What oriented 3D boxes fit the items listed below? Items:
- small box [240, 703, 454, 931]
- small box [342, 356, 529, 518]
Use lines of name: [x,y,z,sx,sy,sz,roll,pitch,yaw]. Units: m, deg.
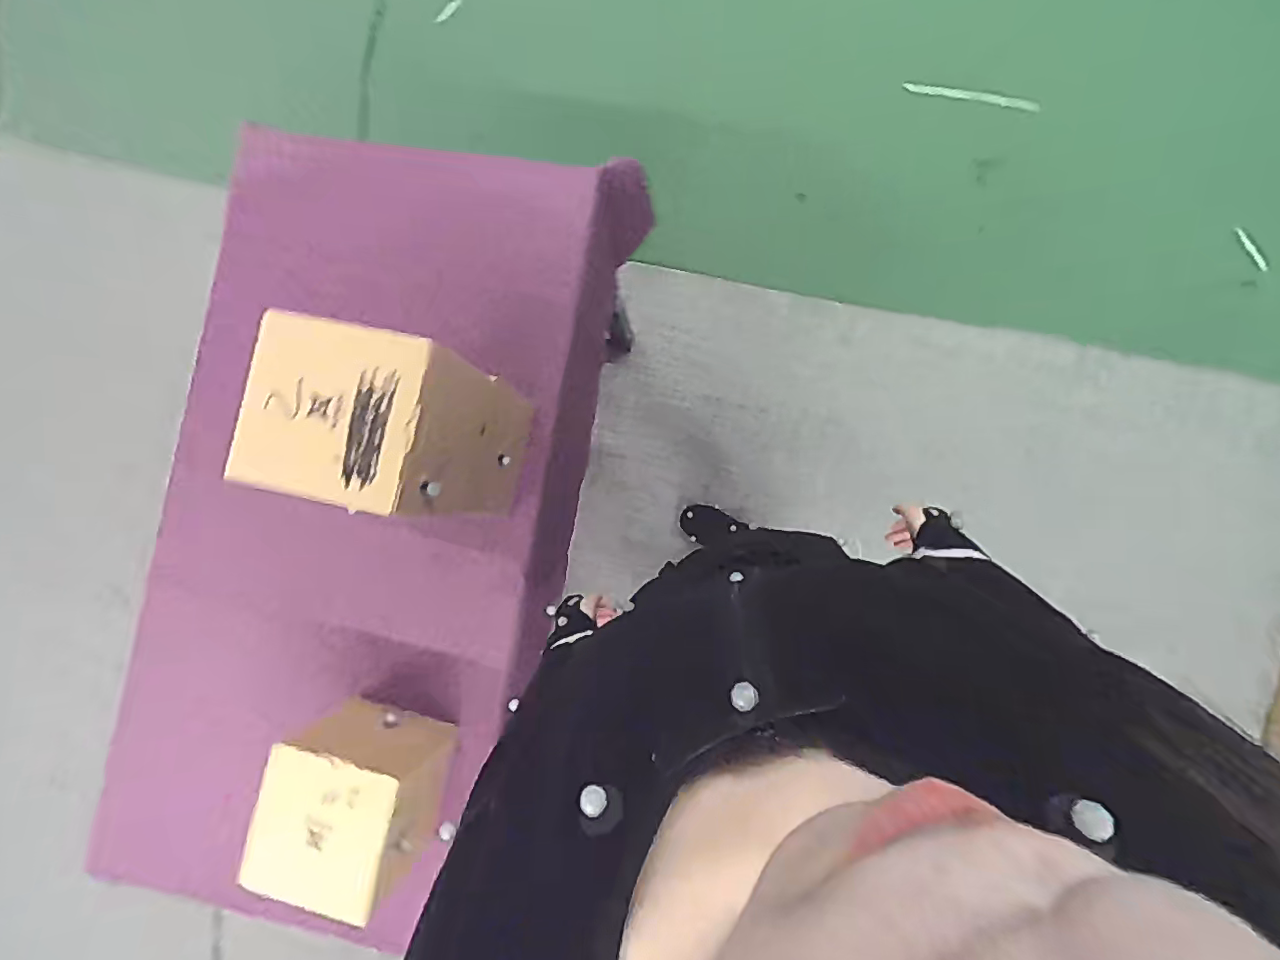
small box: [-0.368,0.424,0.713,0.168,0.176,0.179,12,86,6]
small box: [-0.265,-0.050,0.742,0.168,0.176,0.179,12,88,7]
